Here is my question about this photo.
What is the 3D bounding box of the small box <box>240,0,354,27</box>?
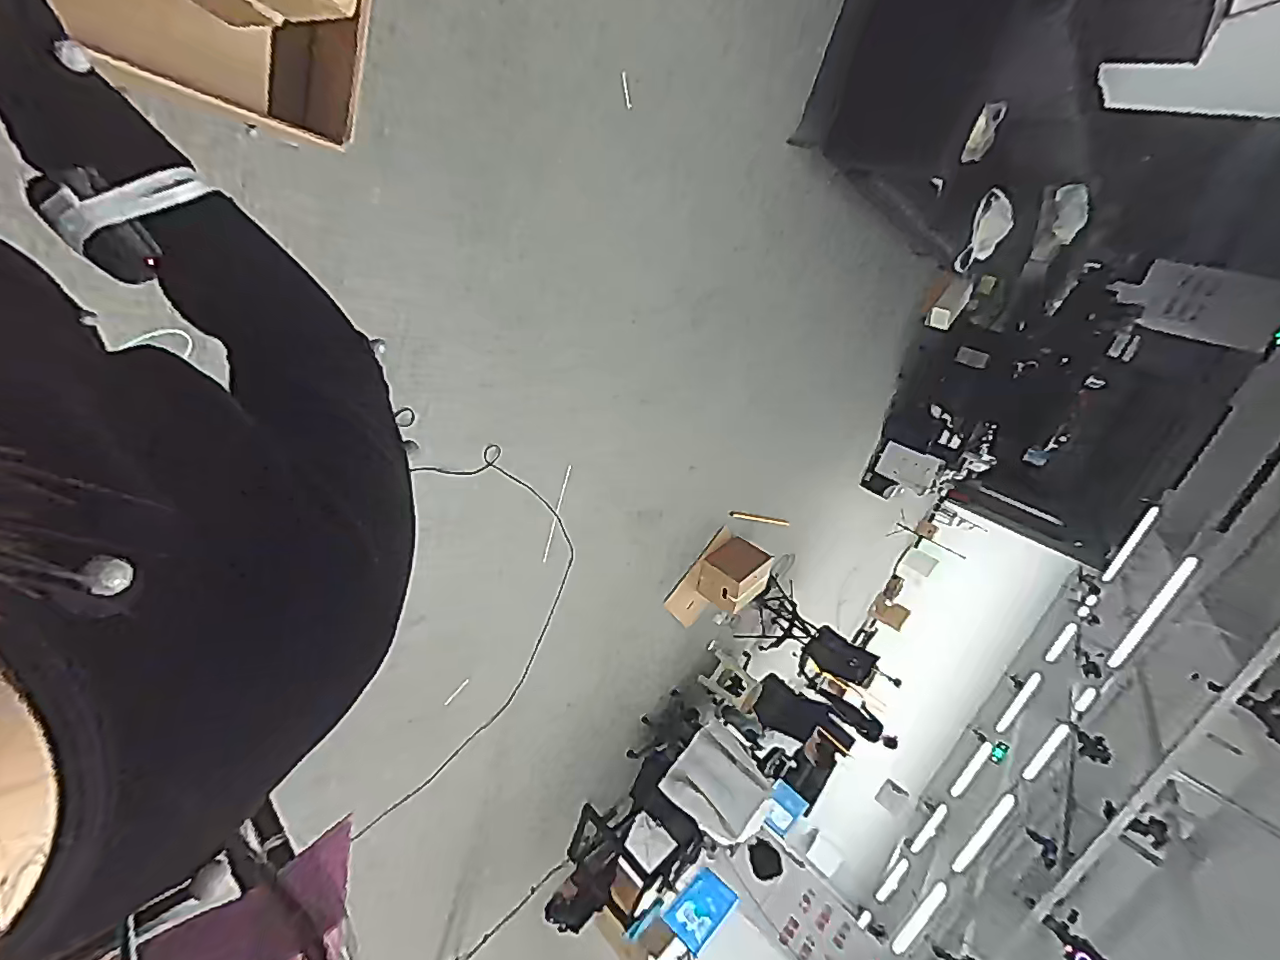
[{"bbox_3d":[-0.360,-0.548,0.479,0.168,0.176,0.179,-2,117,-53],"label":"small box"}]
